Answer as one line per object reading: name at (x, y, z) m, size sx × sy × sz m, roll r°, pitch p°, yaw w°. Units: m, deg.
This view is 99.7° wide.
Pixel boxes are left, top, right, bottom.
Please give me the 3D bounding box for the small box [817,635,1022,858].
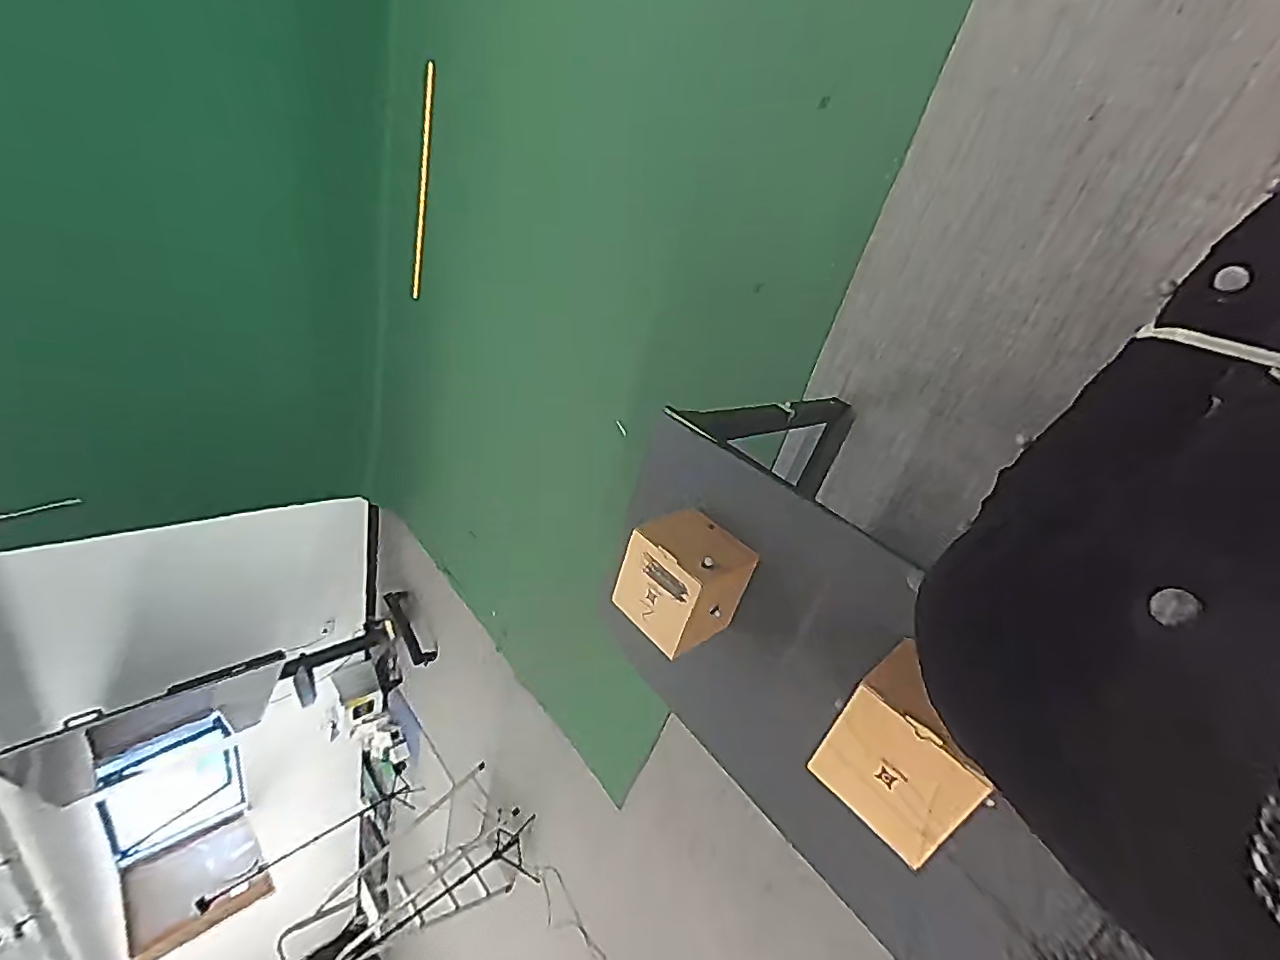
small box at (0.379, 0.347, 0.733) m, size 0.168 × 0.176 × 0.179 m, roll 36°, pitch 123°, yaw 34°
